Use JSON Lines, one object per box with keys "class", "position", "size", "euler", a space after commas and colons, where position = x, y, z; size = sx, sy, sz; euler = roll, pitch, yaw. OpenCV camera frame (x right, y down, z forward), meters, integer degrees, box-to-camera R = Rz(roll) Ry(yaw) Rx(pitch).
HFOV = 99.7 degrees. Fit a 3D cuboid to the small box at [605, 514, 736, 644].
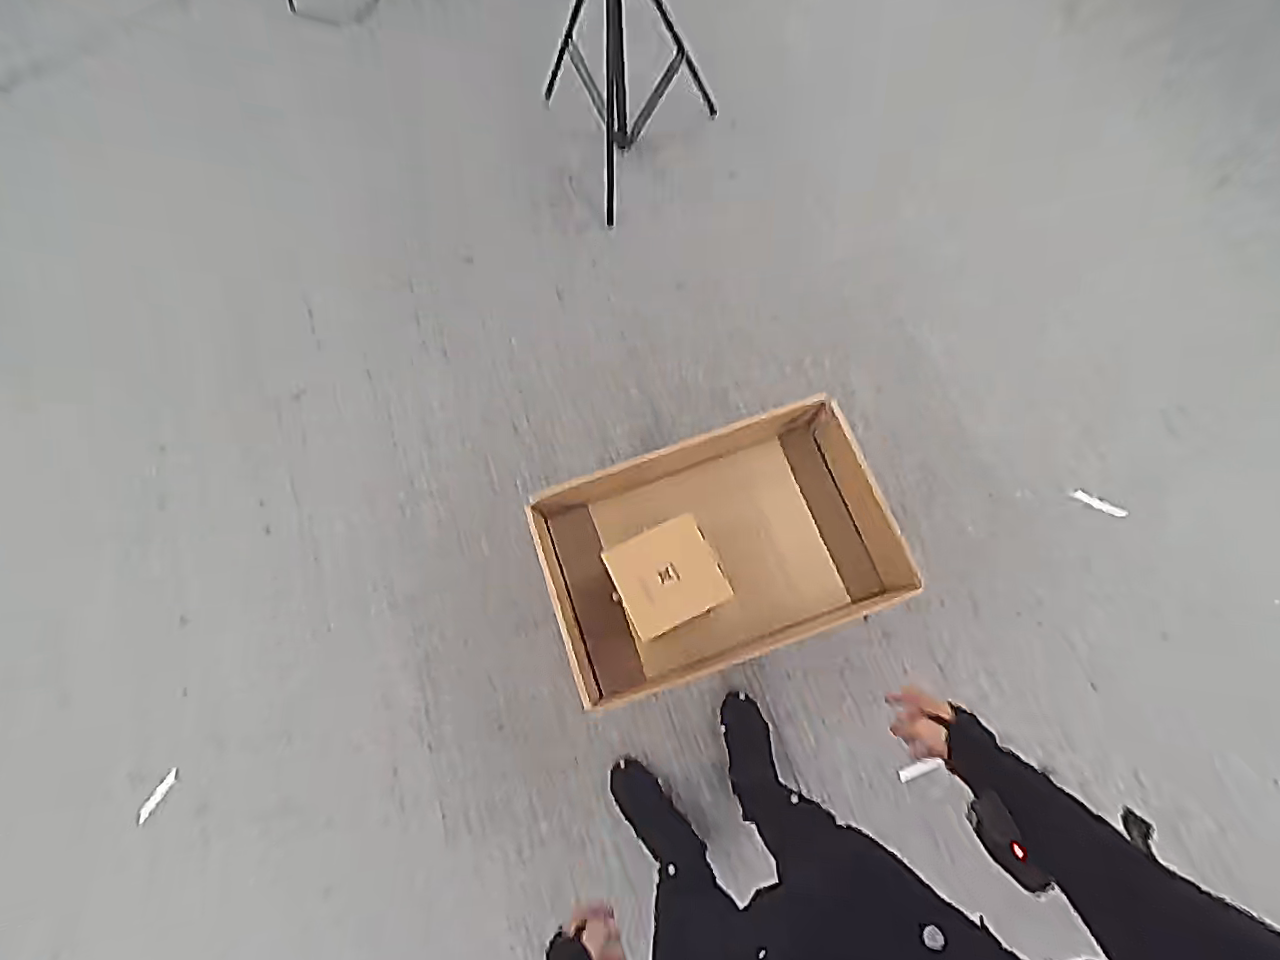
{"class": "small box", "position": [0.050, 0.184, 0.991], "size": [0.179, 0.176, 0.168], "euler": [-26, 75, -6]}
